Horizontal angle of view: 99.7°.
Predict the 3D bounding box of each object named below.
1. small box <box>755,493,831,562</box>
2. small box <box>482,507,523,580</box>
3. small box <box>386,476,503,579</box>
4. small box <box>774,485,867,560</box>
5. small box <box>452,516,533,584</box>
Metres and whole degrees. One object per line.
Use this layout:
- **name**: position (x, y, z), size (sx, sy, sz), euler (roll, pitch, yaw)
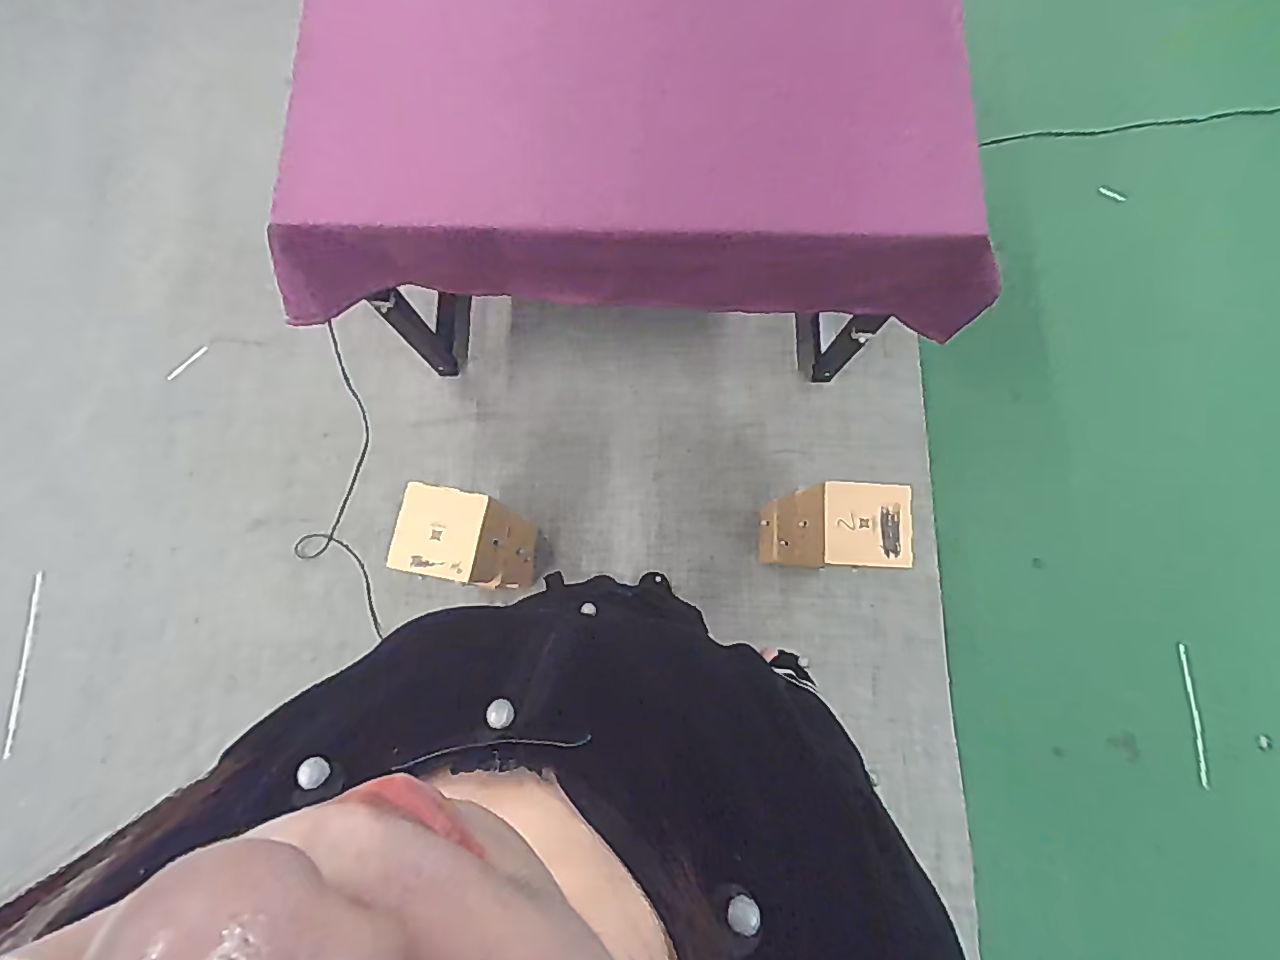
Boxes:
- **small box**: position (0.418, 0.135, 1.475), size (0.179, 0.176, 0.168), euler (5, 80, -1)
- **small box**: position (-0.391, 0.147, 1.291), size (0.179, 0.176, 0.168), euler (7, 80, 0)
- **small box**: position (-0.396, 0.105, 1.131), size (0.168, 0.176, 0.179), euler (11, 79, 1)
- **small box**: position (0.430, 0.108, 1.315), size (0.179, 0.176, 0.168), euler (2, 81, -2)
- **small box**: position (-0.387, 0.184, 1.452), size (0.168, 0.176, 0.179), euler (4, 79, -1)
